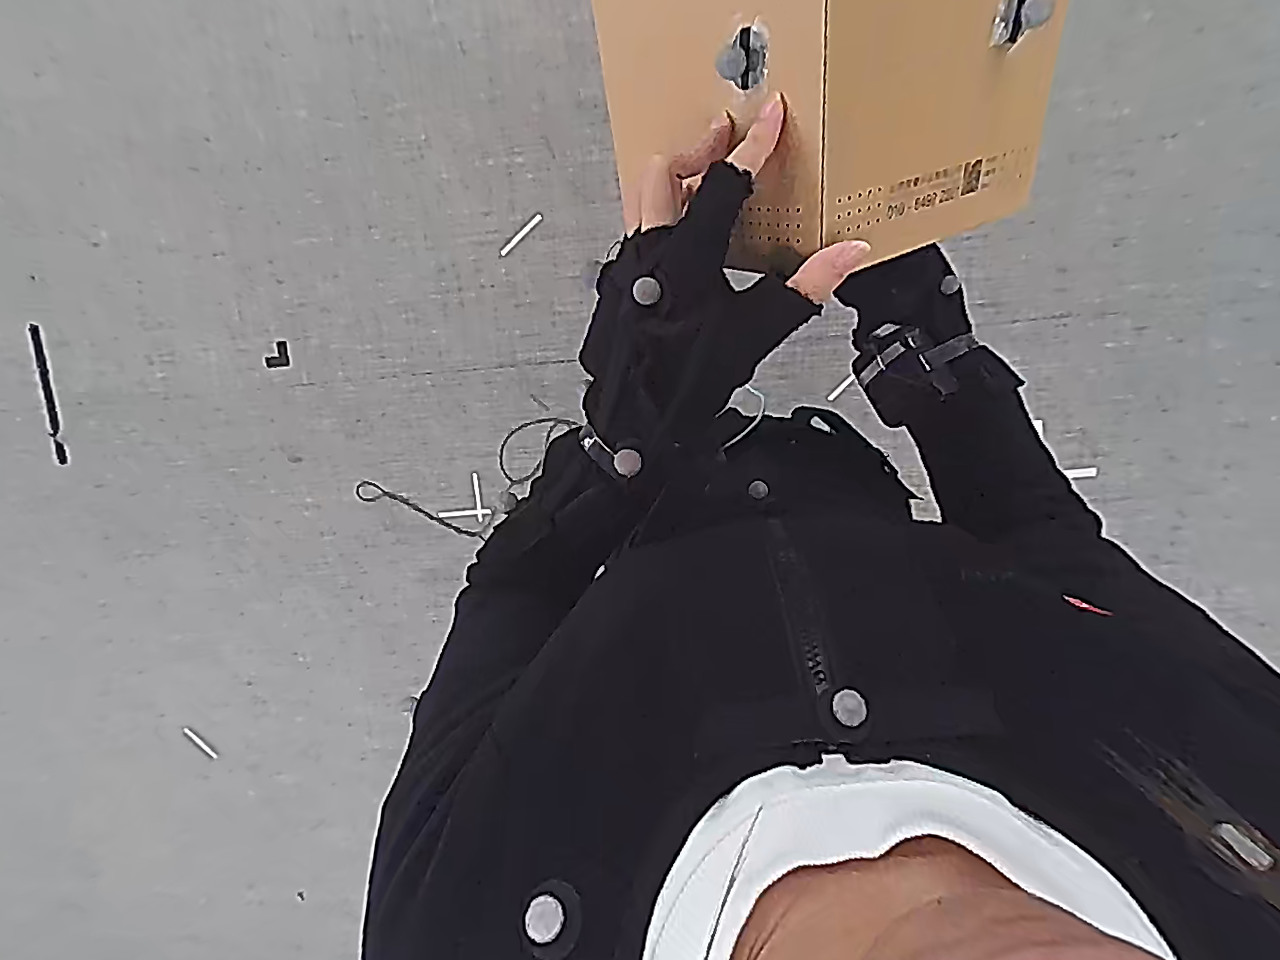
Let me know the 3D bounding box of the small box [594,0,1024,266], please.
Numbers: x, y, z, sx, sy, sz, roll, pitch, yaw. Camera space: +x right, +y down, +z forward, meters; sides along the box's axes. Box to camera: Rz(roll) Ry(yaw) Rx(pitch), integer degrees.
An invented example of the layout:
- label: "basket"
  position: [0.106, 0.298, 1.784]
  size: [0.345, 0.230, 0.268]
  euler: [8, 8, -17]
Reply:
- label: "small box"
  position: [0.094, -0.232, 0.315]
  size: [0.168, 0.179, 0.176]
  euler: [-24, 124, -22]
